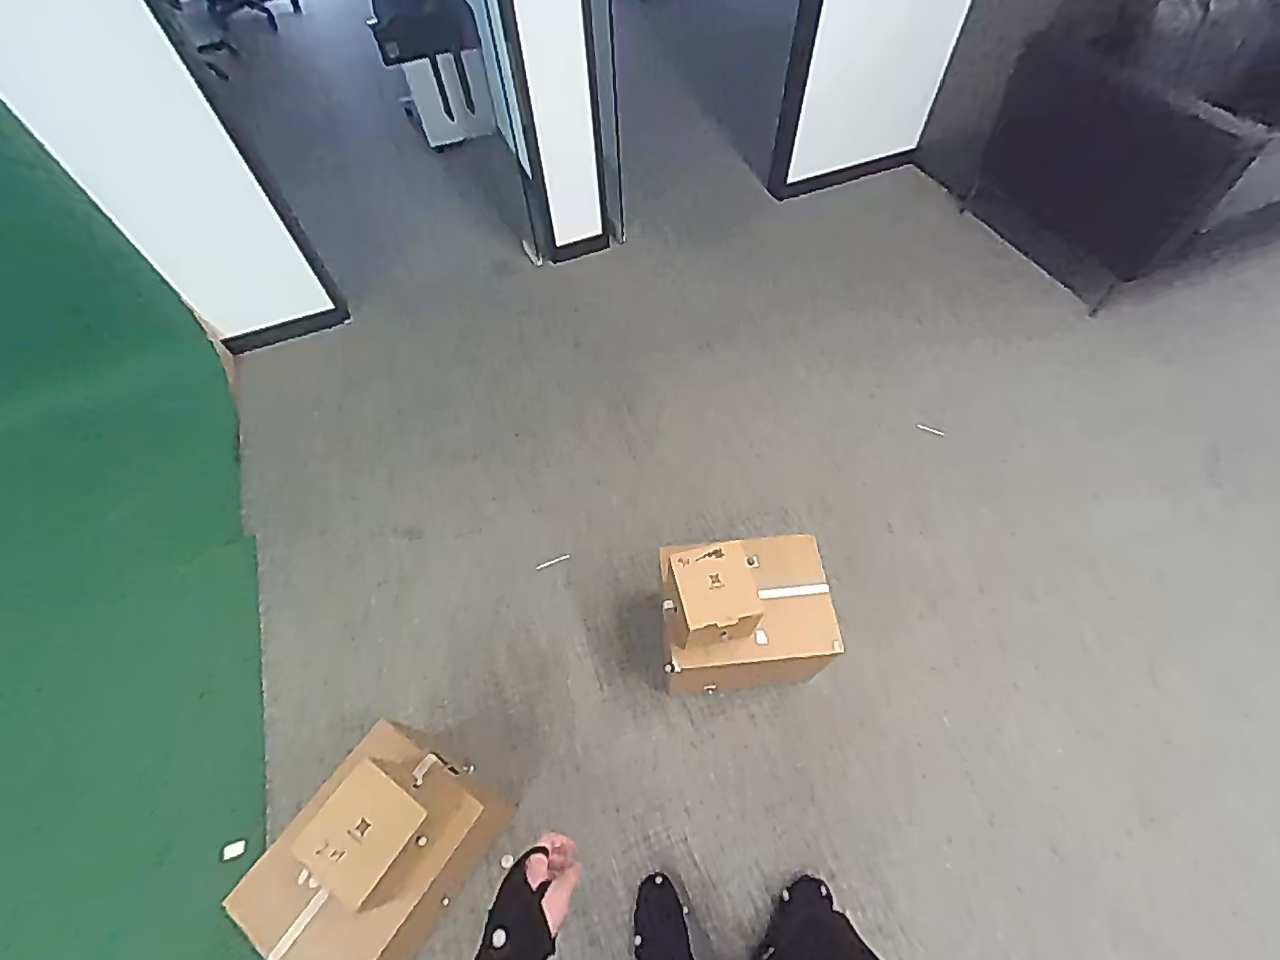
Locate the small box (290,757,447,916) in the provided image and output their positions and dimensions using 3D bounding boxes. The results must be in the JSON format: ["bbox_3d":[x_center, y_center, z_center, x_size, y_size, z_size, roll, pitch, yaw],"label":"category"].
[{"bbox_3d":[-0.484,0.647,0.999,0.168,0.176,0.179,29,63,18],"label":"small box"}]

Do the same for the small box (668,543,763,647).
[{"bbox_3d":[0.162,0.268,1.225,0.168,0.176,0.179,-11,59,-6],"label":"small box"}]

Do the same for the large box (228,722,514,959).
[{"bbox_3d":[-0.545,0.816,1.187,0.320,0.320,0.408,29,63,20],"label":"large box"}]
